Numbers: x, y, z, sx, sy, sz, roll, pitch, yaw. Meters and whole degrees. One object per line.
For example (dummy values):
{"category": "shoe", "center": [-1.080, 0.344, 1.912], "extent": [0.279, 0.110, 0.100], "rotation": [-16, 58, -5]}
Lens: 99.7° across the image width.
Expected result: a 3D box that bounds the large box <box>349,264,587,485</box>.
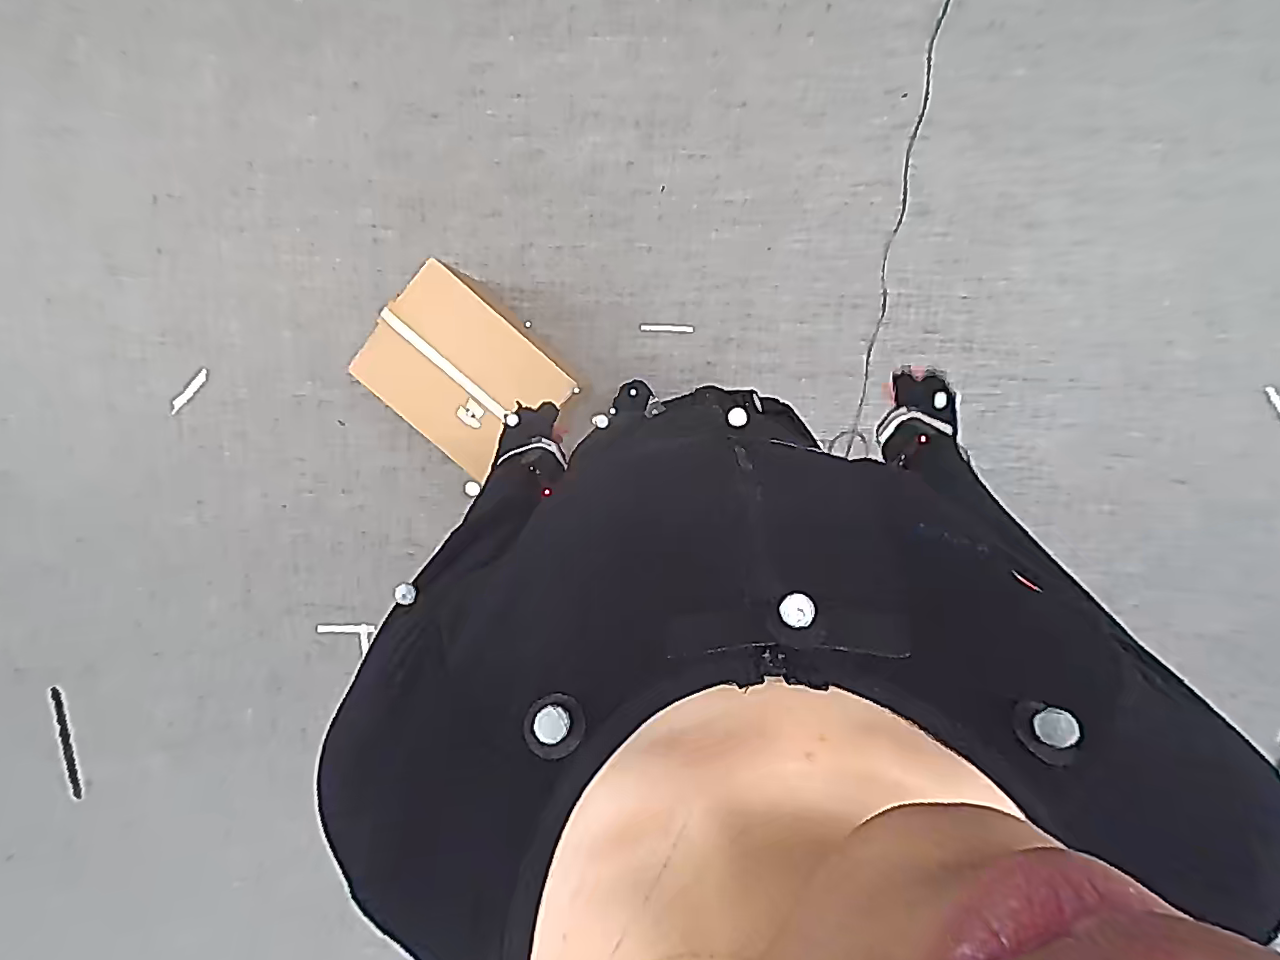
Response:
{"category": "large box", "center": [-0.390, -0.250, 1.326], "extent": [0.408, 0.320, 0.320], "rotation": [41, 99, -6]}
